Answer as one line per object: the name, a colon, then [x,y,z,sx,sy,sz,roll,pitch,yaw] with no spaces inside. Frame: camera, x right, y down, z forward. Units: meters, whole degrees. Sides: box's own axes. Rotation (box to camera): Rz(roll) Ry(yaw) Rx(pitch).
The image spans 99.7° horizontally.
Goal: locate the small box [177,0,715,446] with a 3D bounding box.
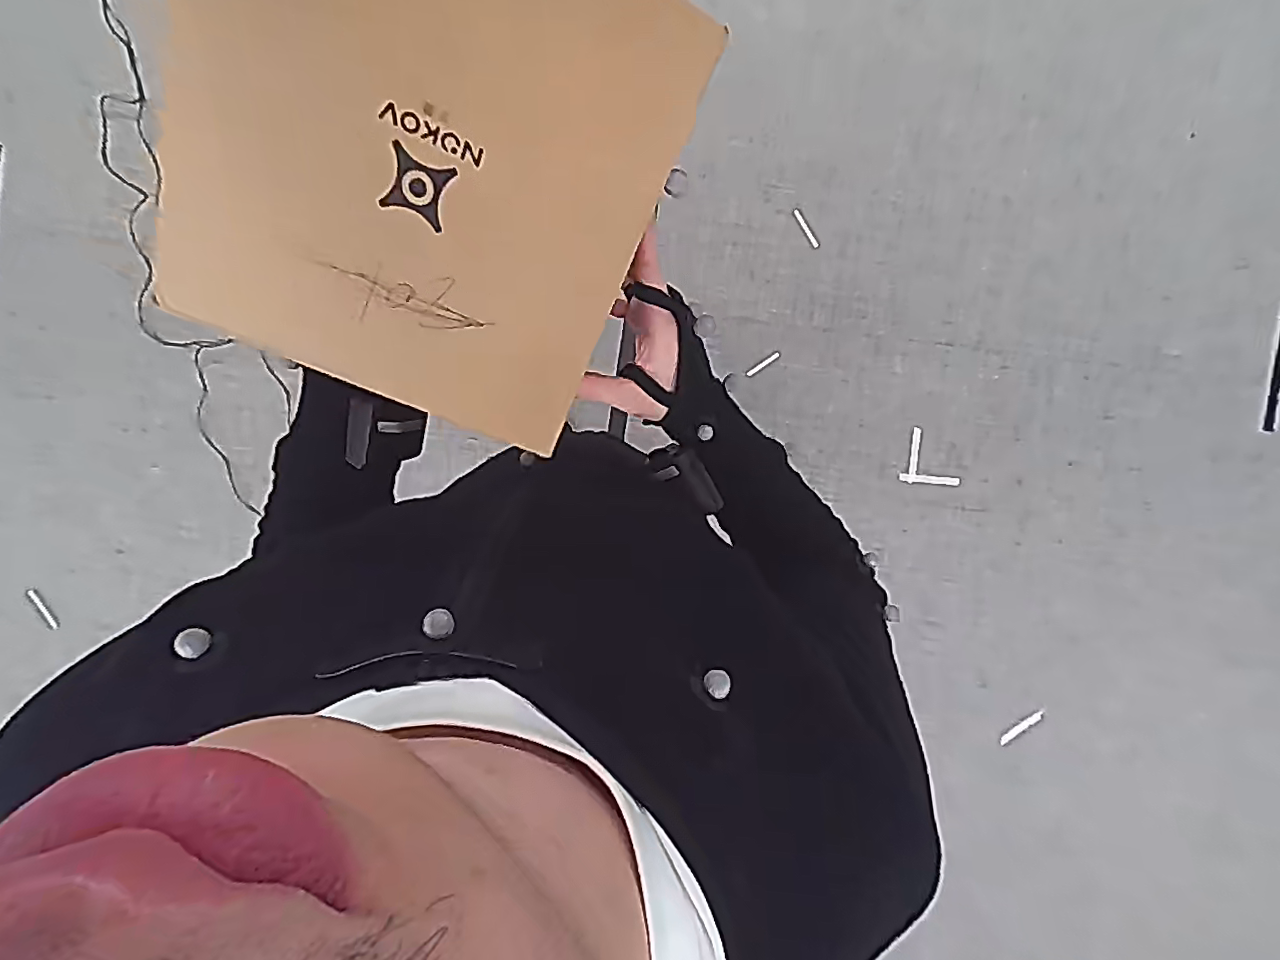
small box: [-0.085,-0.150,0.280,0.168,0.176,0.179,21,113,-12]
